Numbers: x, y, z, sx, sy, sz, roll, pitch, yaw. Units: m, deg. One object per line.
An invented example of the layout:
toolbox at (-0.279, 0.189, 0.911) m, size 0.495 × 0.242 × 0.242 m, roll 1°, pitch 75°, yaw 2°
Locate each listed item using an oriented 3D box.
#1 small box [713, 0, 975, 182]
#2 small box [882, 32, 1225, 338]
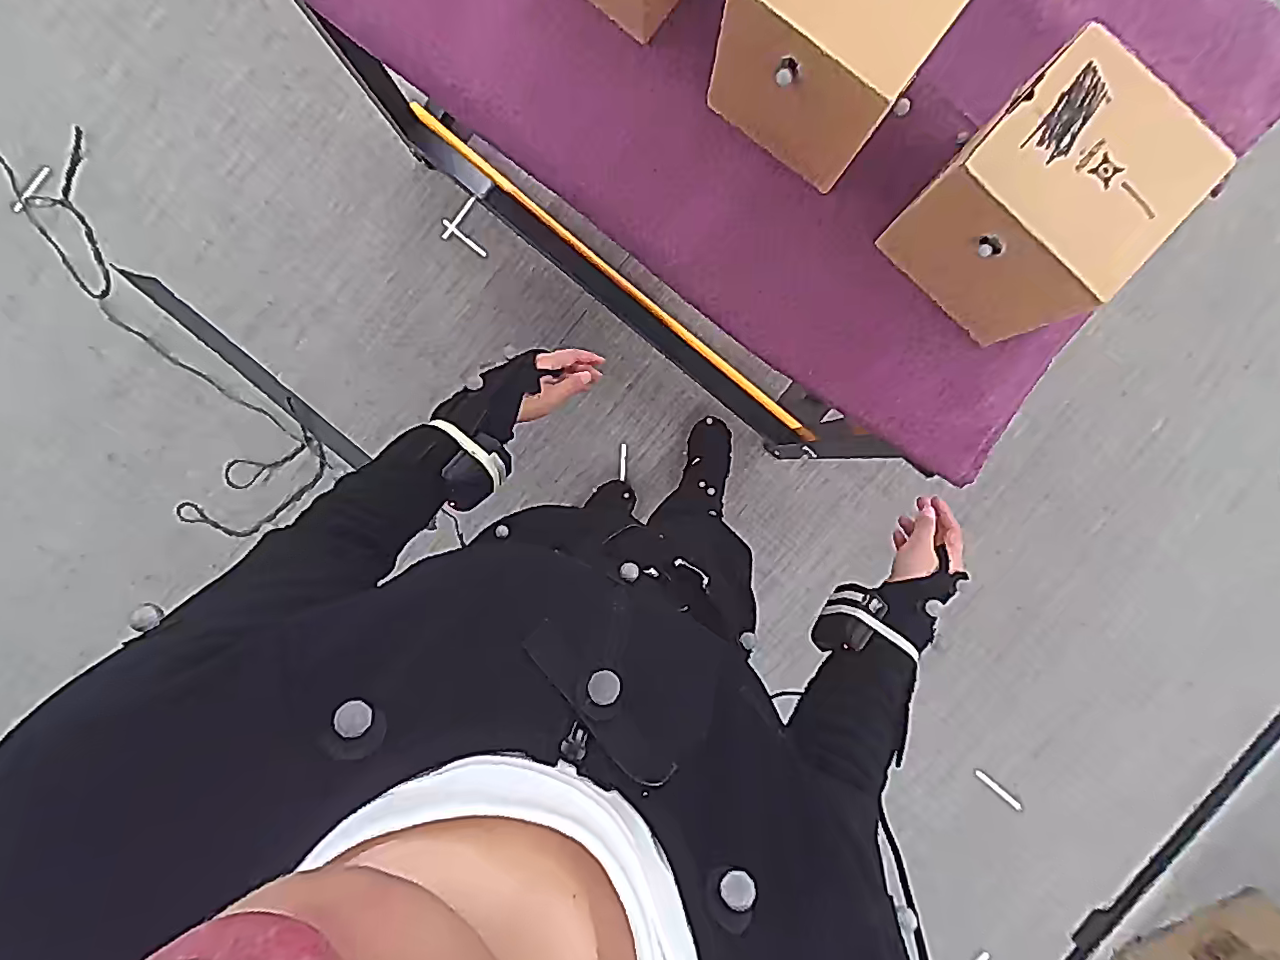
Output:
small box at (0.195, -0.439, 0.542) m, size 0.179 × 0.176 × 0.168 m, roll 37°, pitch 92°, yaw 0°
small box at (0.386, -0.270, 0.544) m, size 0.179 × 0.176 × 0.168 m, roll 43°, pitch 91°, yaw -2°
